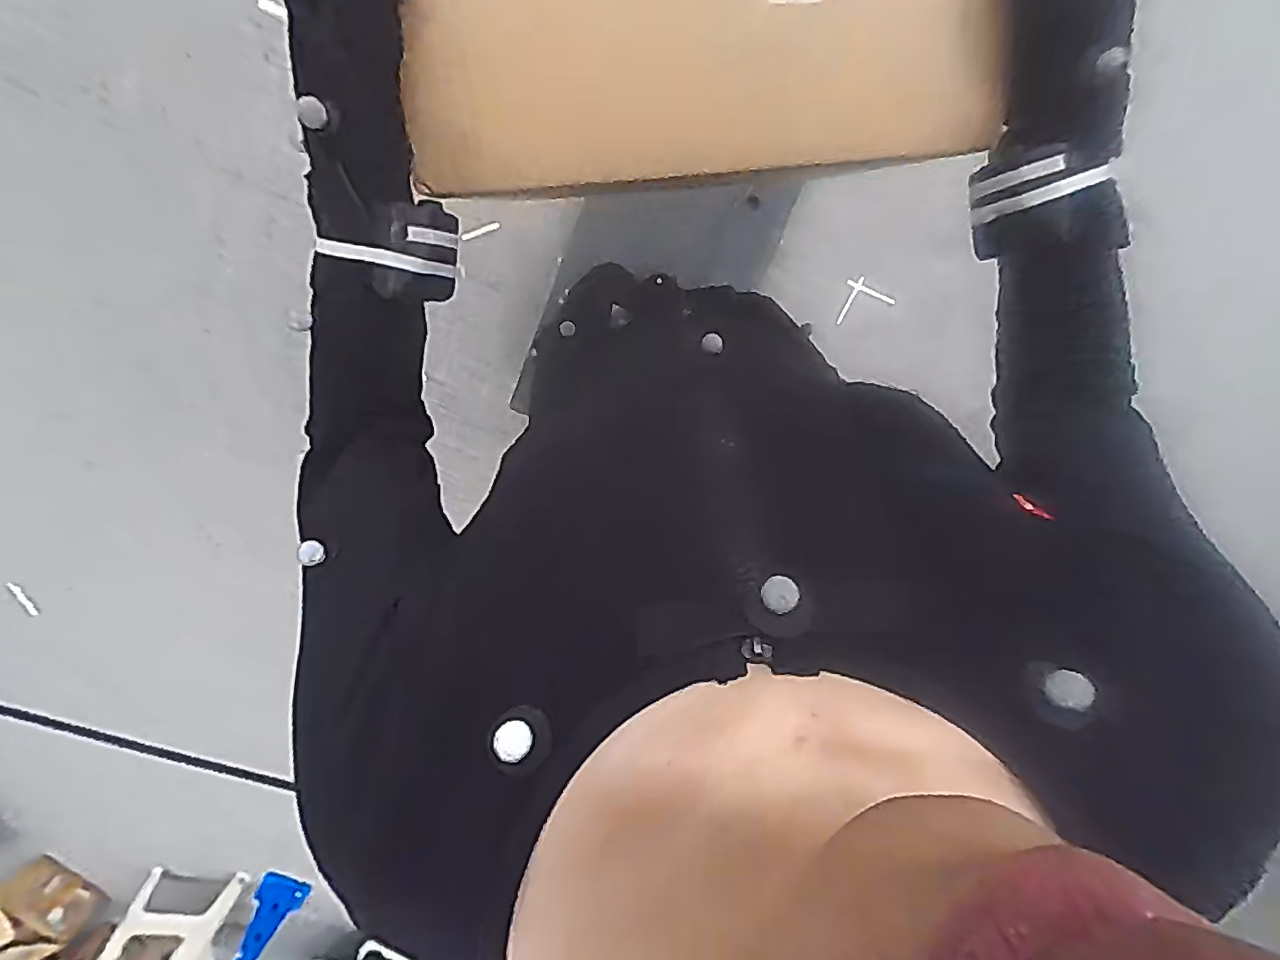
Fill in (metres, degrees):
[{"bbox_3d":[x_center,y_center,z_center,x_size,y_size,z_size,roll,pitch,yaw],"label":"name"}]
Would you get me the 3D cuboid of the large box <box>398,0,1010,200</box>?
[{"bbox_3d":[0.033,-0.430,0.455,0.408,0.320,0.320,-4,116,0],"label":"large box"}]
